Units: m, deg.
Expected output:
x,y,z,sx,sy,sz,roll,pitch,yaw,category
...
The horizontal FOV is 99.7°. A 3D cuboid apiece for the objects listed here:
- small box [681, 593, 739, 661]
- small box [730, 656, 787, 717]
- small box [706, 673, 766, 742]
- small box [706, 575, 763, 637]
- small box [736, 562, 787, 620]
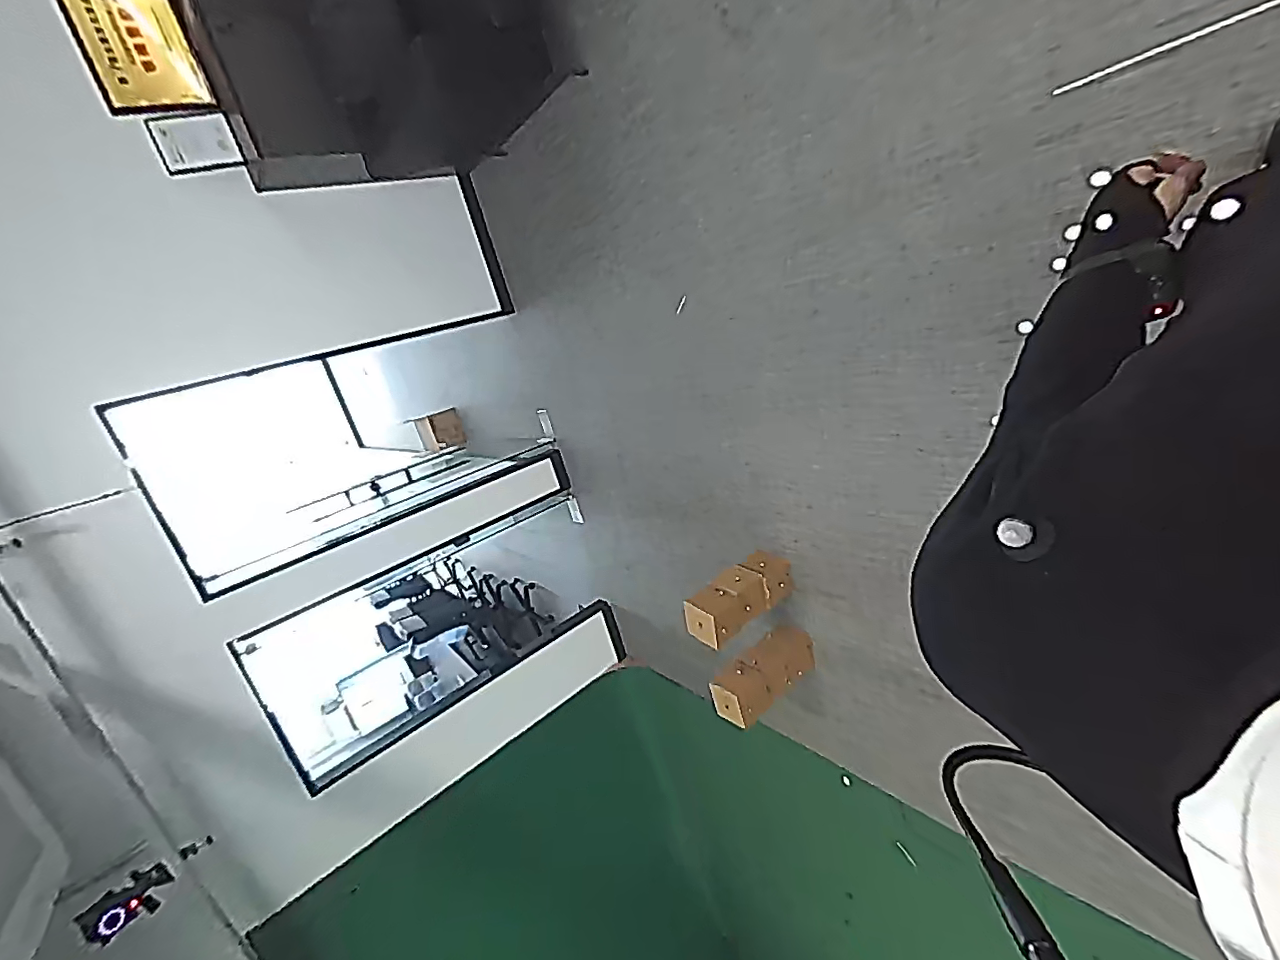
x,y,z,sx,sy,sz,roll,pitch,yaw,category
0.293,0.596,2.216,0.168,0.176,0.179,19,125,46,small box
0.529,0.903,2.384,0.179,0.176,0.168,3,113,54,small box
0.410,0.956,2.283,0.168,0.176,0.179,4,114,52,small box
0.408,0.532,2.313,0.168,0.176,0.179,14,123,50,small box
0.537,0.484,2.399,0.179,0.176,0.168,15,122,48,small box
